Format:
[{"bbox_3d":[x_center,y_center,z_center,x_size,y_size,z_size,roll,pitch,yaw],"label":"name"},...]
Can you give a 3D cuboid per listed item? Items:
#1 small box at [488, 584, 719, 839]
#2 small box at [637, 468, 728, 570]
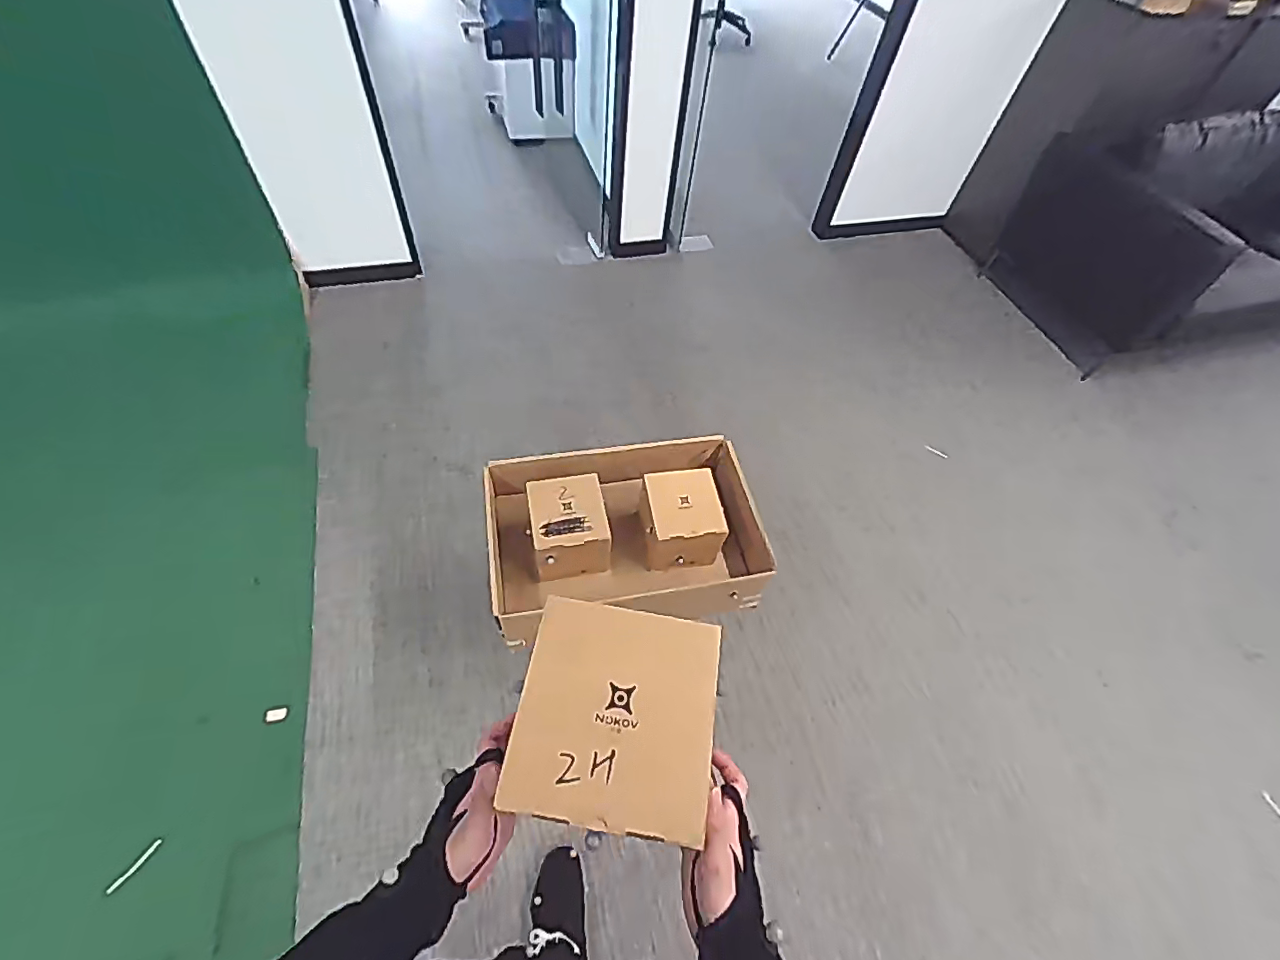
[{"bbox_3d":[-0.028,0.224,0.515,0.168,0.176,0.179,10,57,2],"label":"small box"},{"bbox_3d":[0.092,0.094,1.287,0.168,0.176,0.179,-6,57,-10],"label":"small box"}]
